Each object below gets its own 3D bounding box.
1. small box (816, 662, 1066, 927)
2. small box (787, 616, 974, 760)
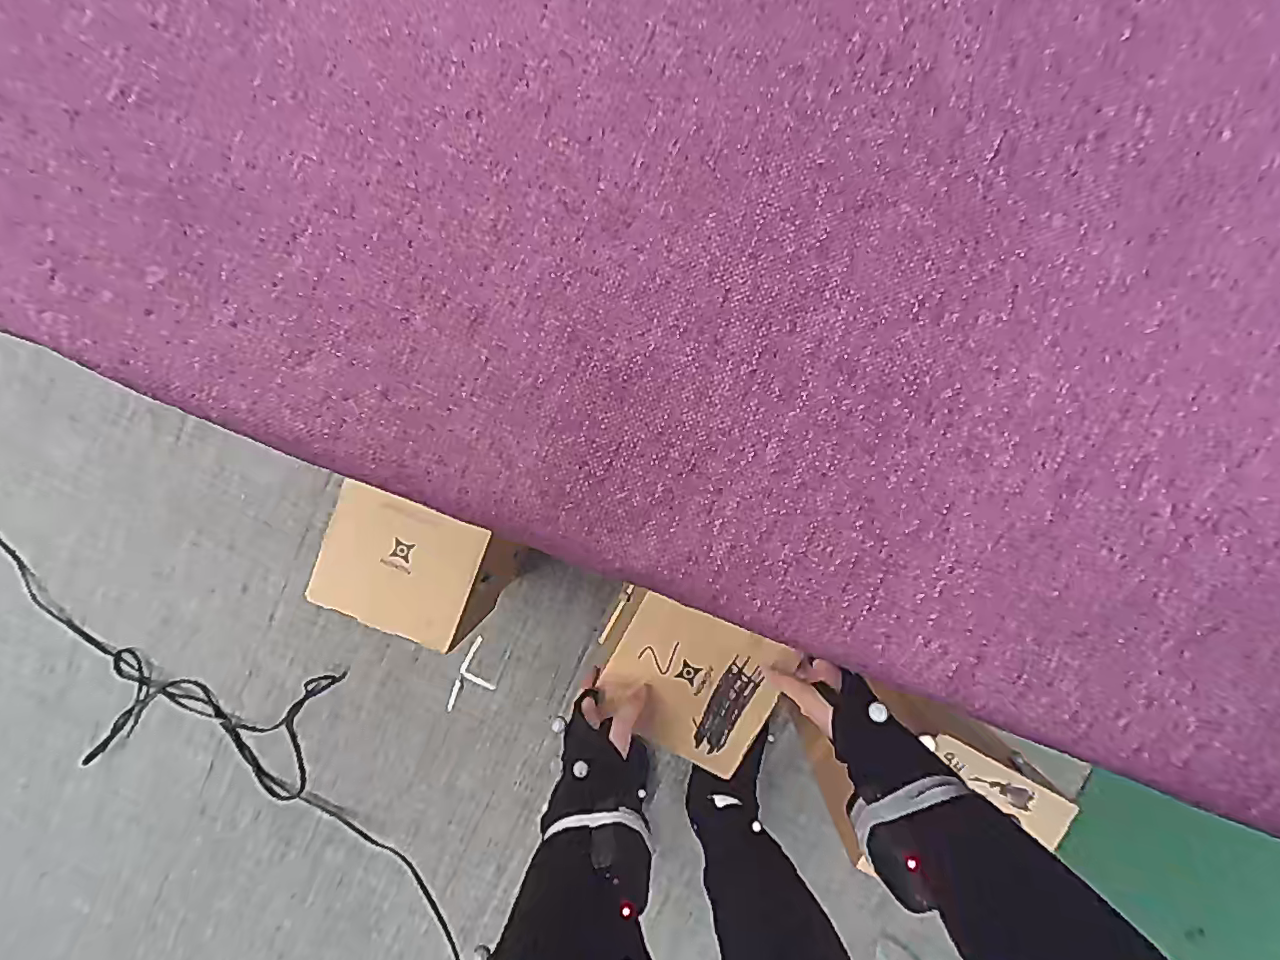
[{"bbox_3d":[0.333,0.357,0.645,0.168,0.176,0.179,29,96,-2],"label":"small box"},{"bbox_3d":[0.340,0.338,0.810,0.168,0.176,0.179,33,94,-1],"label":"small box"}]
